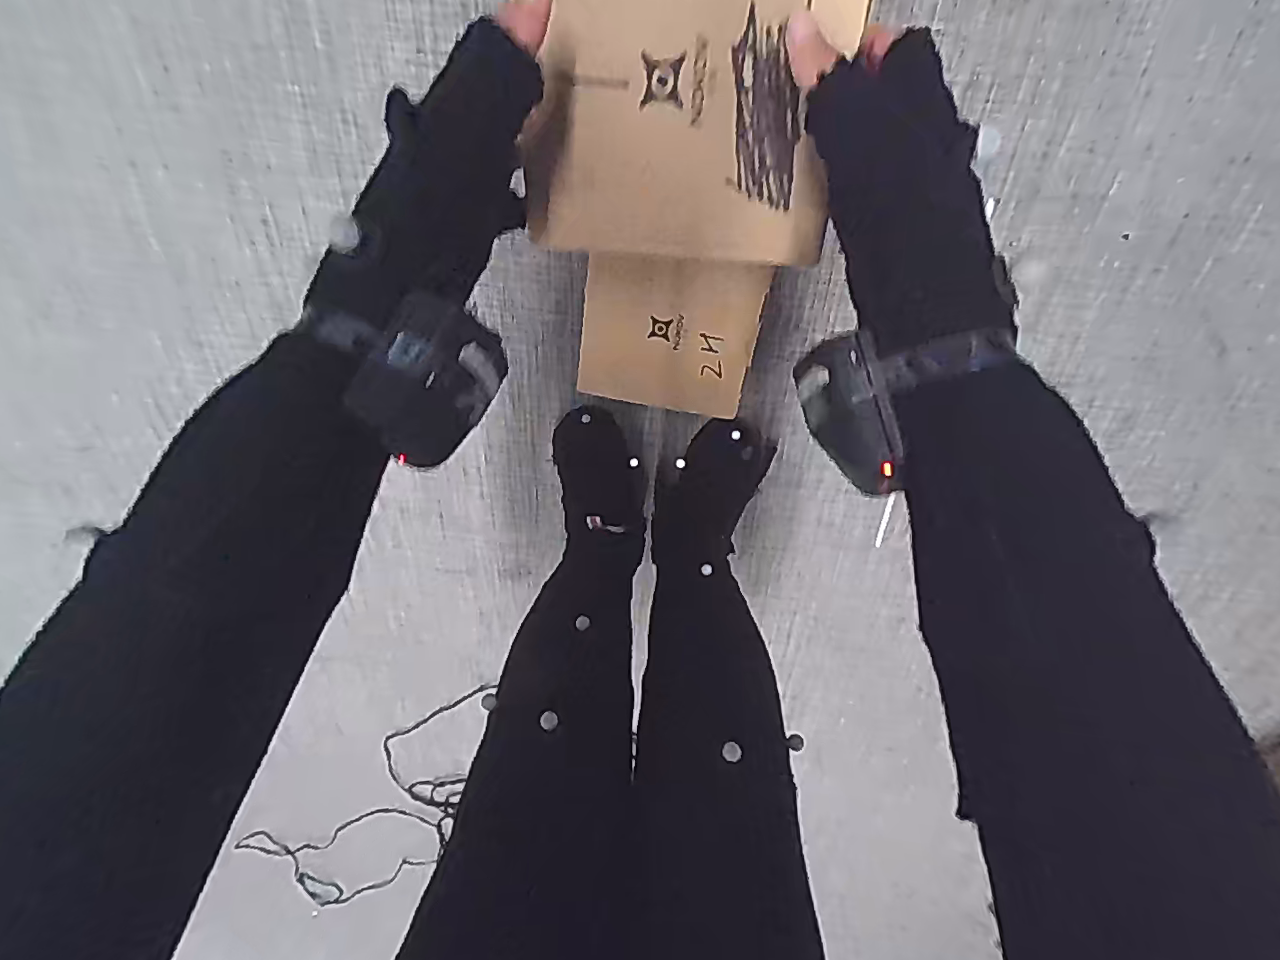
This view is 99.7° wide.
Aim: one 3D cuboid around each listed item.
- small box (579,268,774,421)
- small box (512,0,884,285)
[{"bbox_3d":[0.040,-0.187,0.608,0.179,0.176,0.168,10,121,1],"label":"small box"},{"bbox_3d":[0.035,-0.234,0.340,0.179,0.176,0.168,7,125,8],"label":"small box"}]
